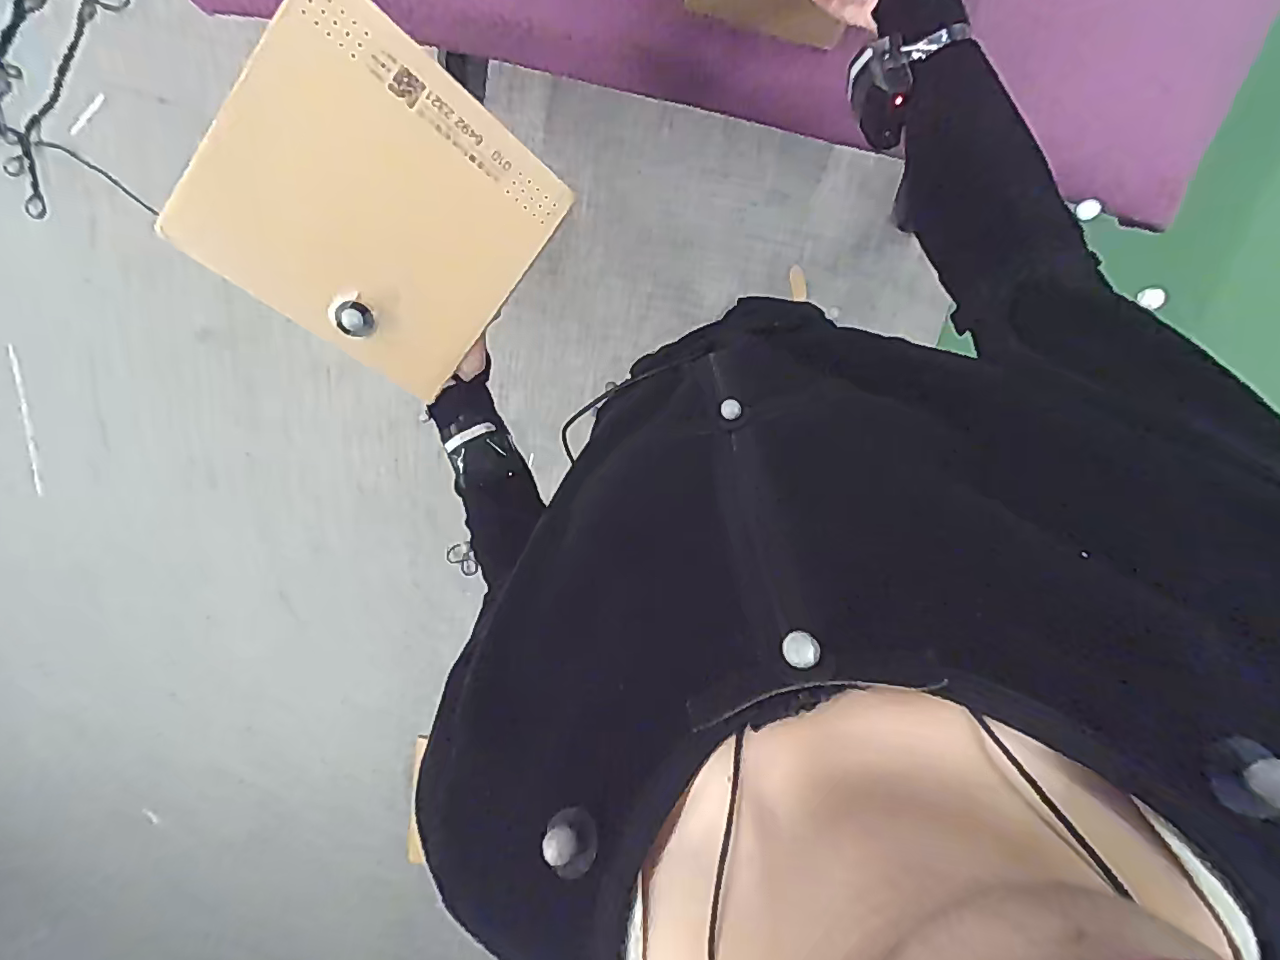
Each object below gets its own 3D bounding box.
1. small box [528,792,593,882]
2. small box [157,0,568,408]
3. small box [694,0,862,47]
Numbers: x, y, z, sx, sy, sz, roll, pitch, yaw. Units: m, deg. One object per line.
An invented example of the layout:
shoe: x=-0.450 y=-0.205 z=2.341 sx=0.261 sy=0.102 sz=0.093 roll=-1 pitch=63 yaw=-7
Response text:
small box: x=-0.265 y=1.202 z=1.833 sx=0.168 sy=0.176 sz=0.179 roll=17 pitch=107 yaw=-1
small box: x=-0.170 y=-0.184 z=0.384 sx=0.168 sy=0.179 sz=0.176 roll=34 pitch=100 yaw=-27
small box: x=0.154 y=-0.556 z=0.510 sx=0.179 sy=0.176 sz=0.168 roll=15 pitch=107 yaw=-2
